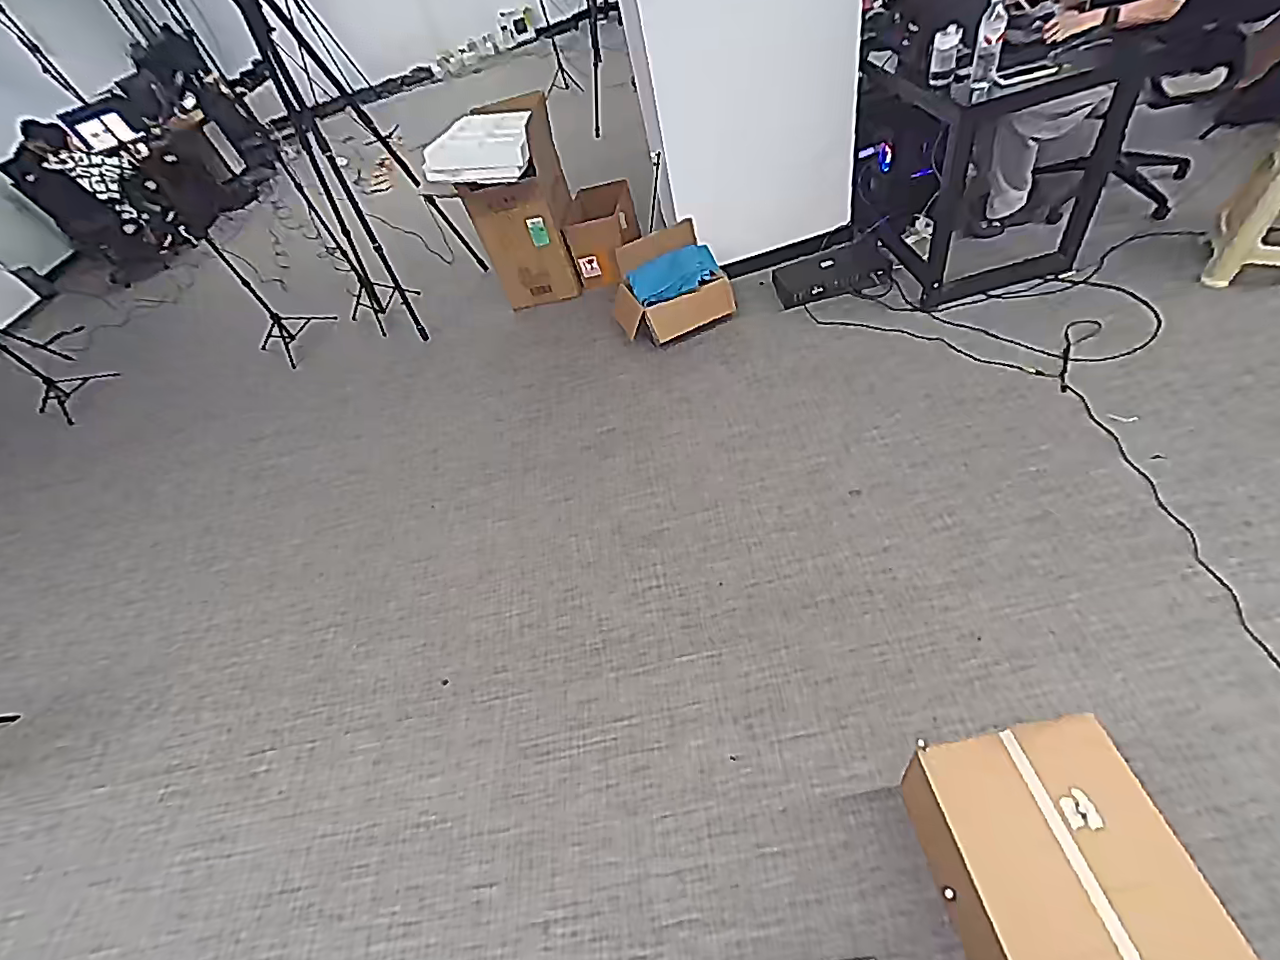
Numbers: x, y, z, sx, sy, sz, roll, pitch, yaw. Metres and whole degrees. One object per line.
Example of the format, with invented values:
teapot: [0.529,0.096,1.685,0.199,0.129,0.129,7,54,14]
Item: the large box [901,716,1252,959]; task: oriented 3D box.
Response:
large box: [0.720,0.704,0.963,0.320,0.320,0.408,-14,46,5]
